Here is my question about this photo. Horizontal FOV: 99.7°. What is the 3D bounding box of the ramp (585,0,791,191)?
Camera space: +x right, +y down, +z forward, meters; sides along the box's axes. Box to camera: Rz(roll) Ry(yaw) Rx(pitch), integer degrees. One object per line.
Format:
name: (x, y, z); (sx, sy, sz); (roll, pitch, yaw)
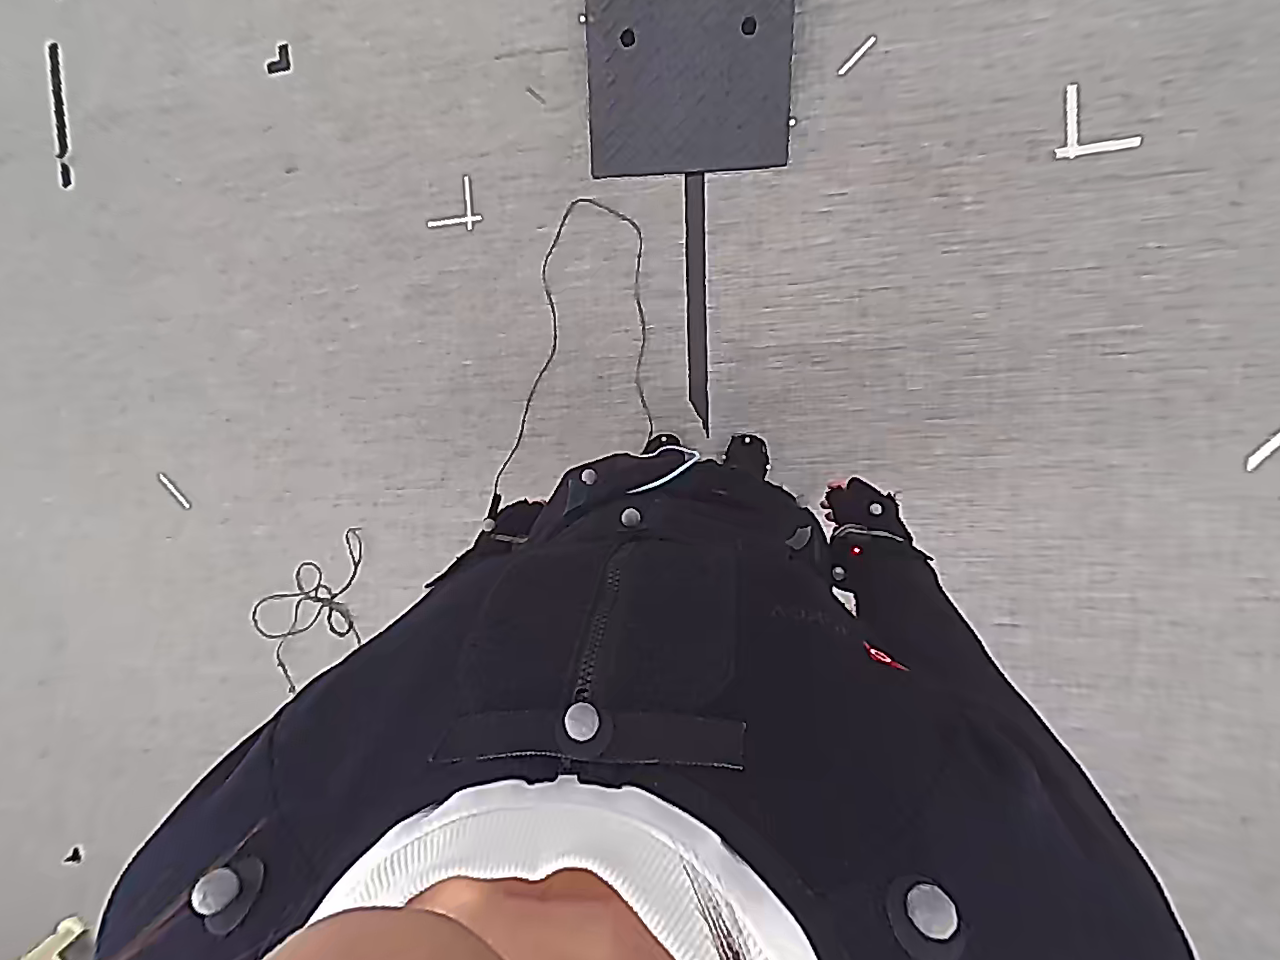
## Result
ramp: (0.105, -1.242, 1.259); (0.509, 0.206, 0.991); (-2, 95, 8)
